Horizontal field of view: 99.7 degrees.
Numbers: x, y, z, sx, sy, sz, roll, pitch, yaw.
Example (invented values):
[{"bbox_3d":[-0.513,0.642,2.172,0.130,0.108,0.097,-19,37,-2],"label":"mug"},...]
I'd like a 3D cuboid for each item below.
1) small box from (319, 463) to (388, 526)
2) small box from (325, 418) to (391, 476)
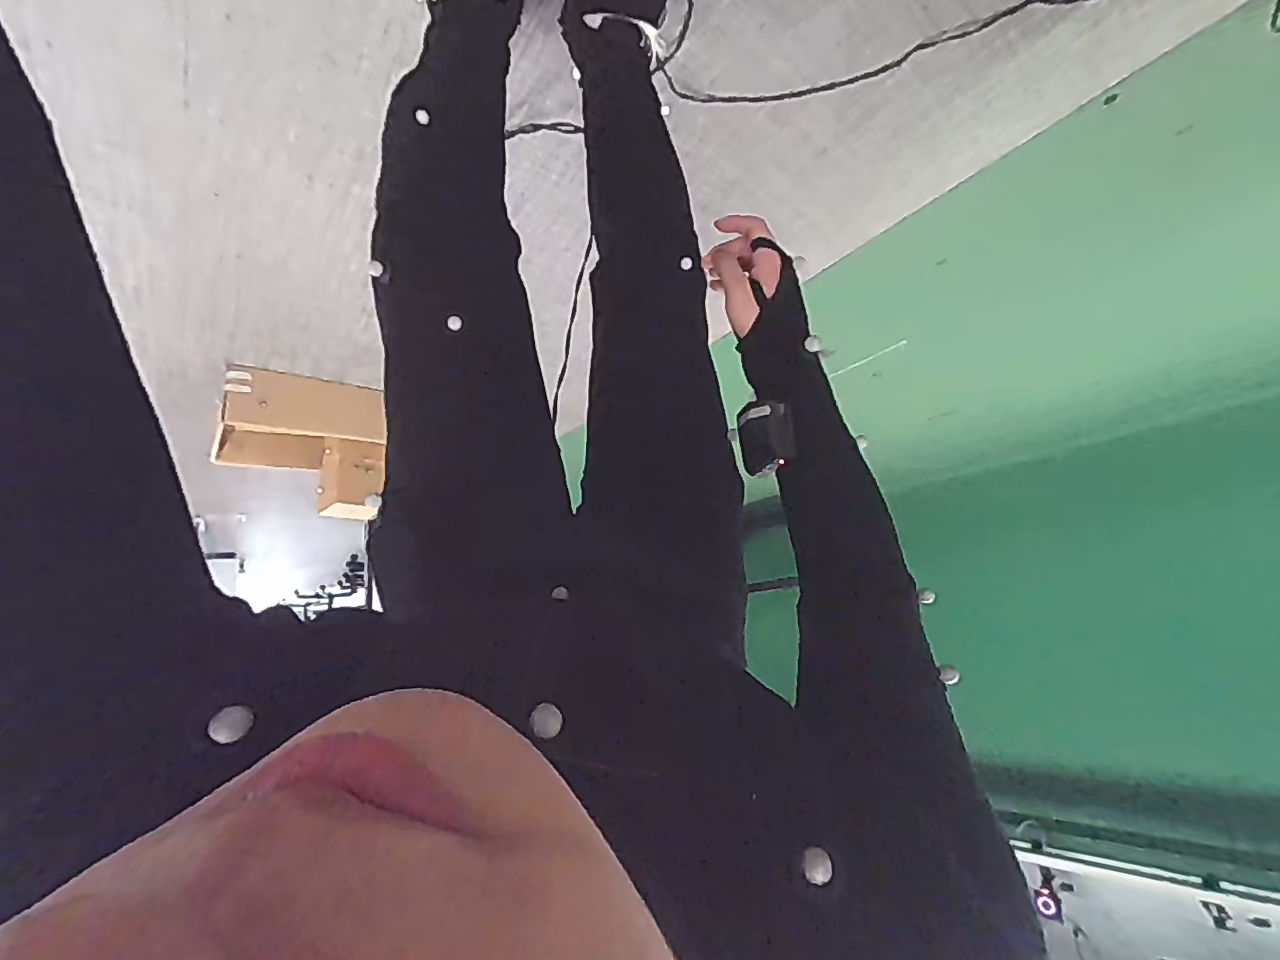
[{"bbox_3d":[-0.997,0.054,1.890,0.179,0.176,0.168,-21,157,38],"label":"small box"},{"bbox_3d":[-1.007,-0.102,1.936,0.168,0.176,0.179,13,154,-42],"label":"small box"}]
